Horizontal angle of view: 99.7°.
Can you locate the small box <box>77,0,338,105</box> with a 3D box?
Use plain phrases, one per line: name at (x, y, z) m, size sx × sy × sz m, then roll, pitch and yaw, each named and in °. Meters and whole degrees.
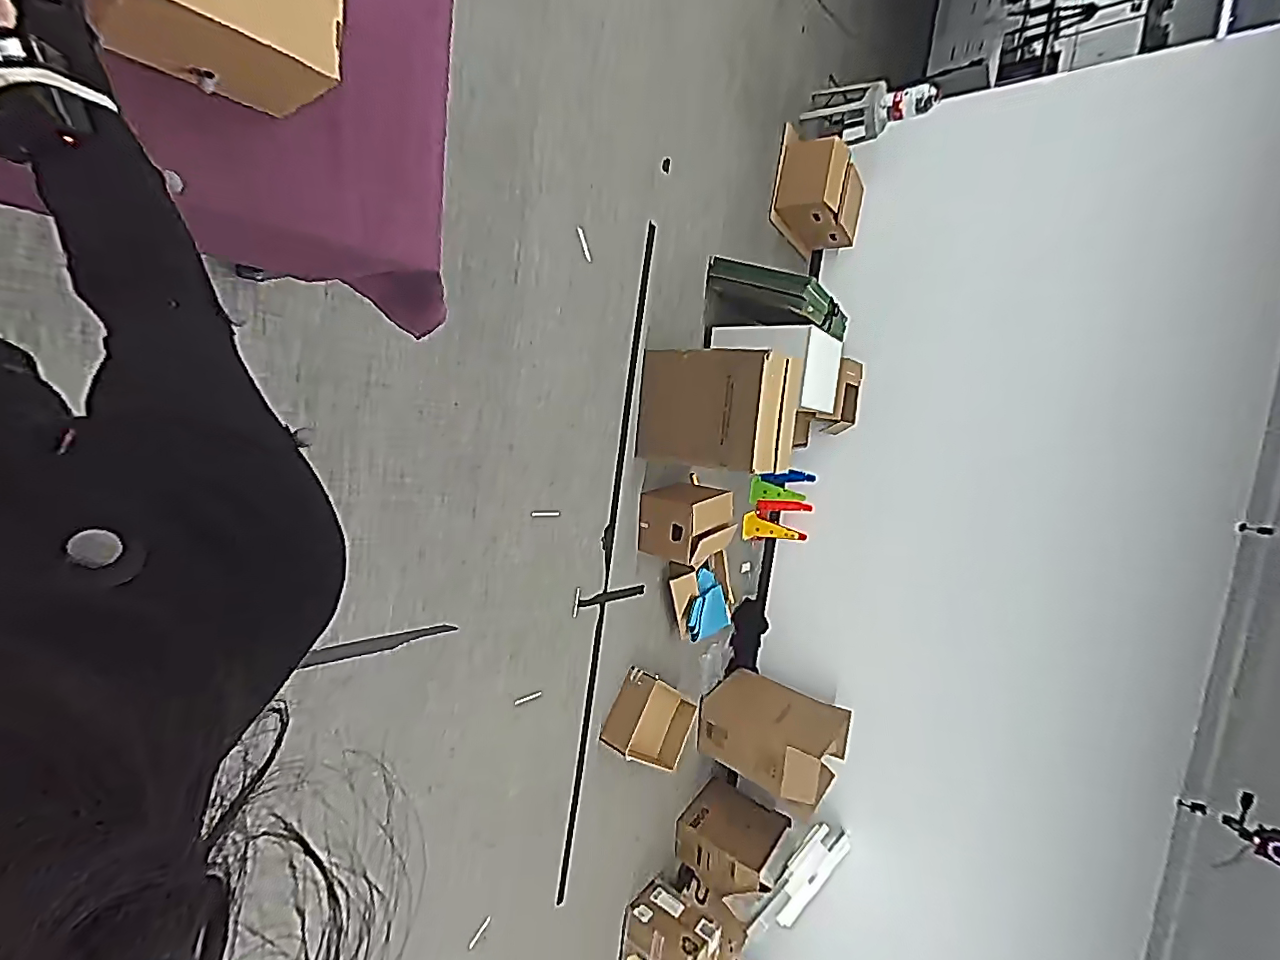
small box at (-0.438, -0.520, 0.554) m, size 0.179 × 0.176 × 0.168 m, roll -6°, pitch 104°, yaw -53°
